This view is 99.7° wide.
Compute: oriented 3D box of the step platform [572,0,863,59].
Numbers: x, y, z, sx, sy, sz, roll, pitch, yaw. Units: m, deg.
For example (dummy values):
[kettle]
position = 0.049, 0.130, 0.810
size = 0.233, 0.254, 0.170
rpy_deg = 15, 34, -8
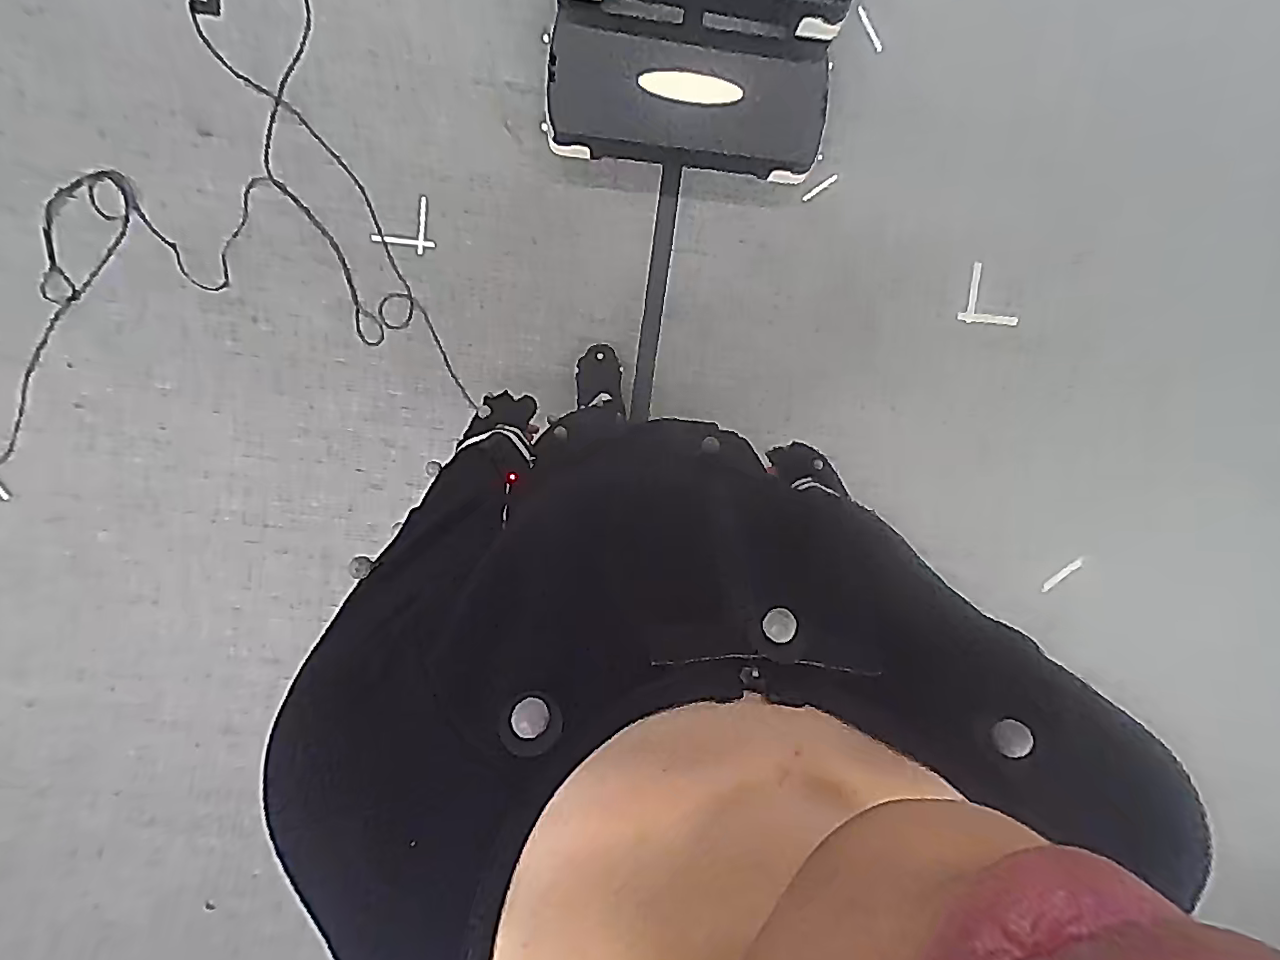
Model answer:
[step platform]
position = 0.182, -1.207, 1.228
size = 0.684, 0.204, 0.286
rpy_deg = 5, 97, -6
